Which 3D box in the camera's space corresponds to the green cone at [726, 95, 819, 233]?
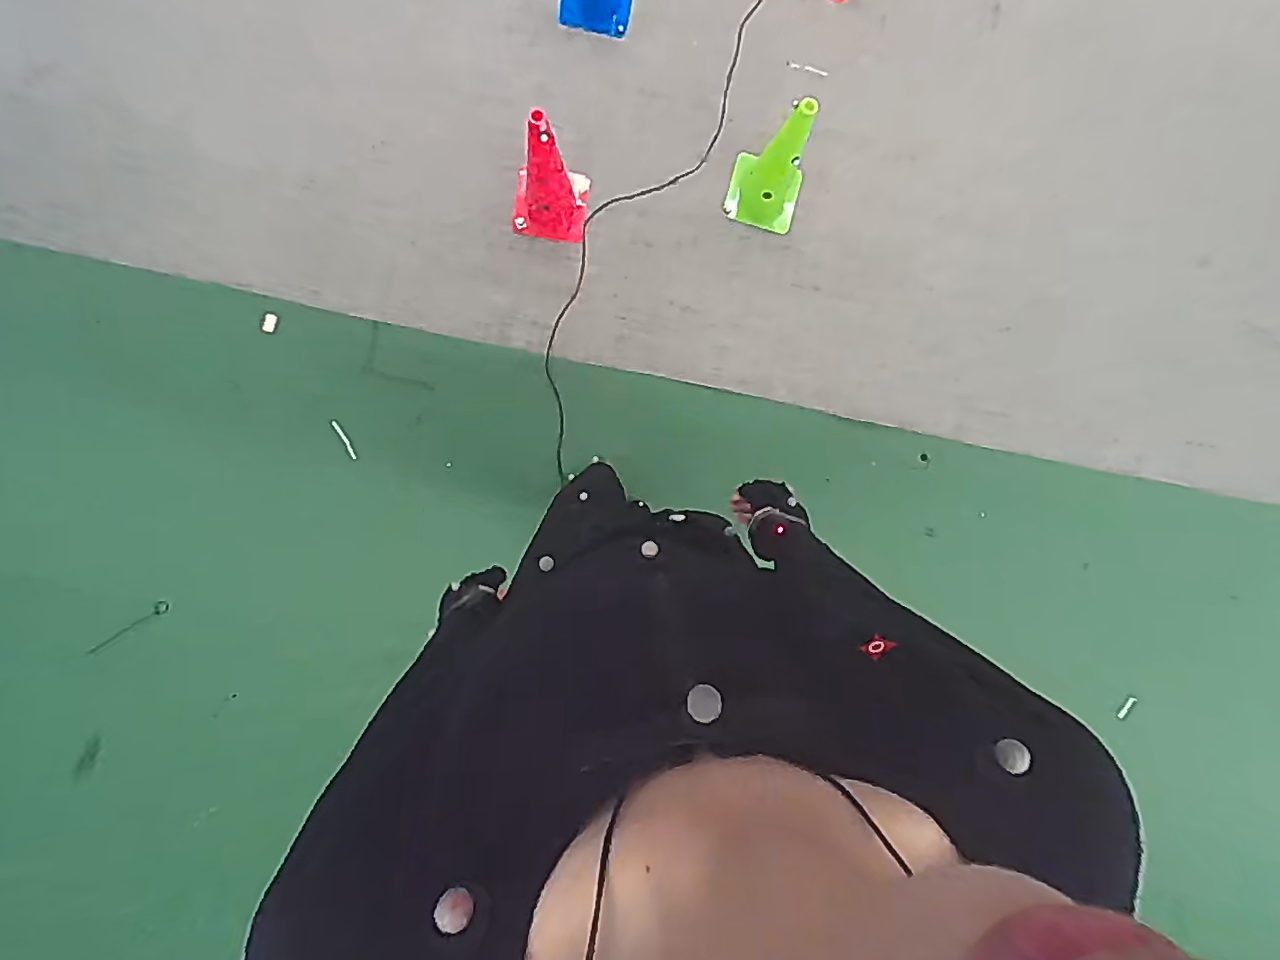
[{"bbox_3d":[0.374,-0.836,1.394,0.200,0.368,0.202,13,86,-4],"label":"green cone"}]
